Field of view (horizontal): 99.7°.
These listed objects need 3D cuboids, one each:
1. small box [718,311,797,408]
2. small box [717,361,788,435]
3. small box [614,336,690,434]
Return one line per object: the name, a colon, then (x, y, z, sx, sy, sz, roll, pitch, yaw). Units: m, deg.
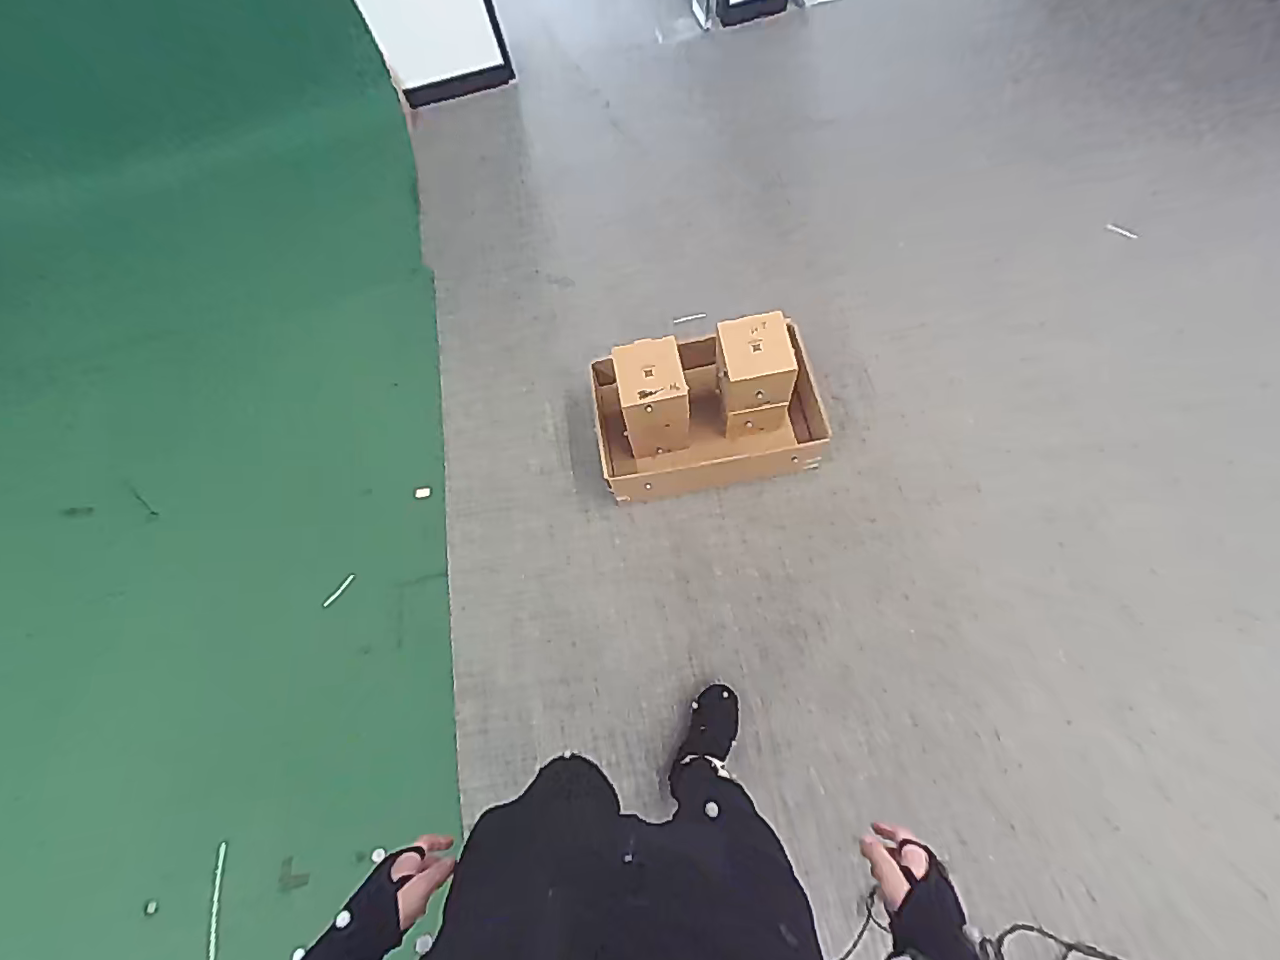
small box: (0.297, -0.300, 1.393, 0.168, 0.176, 0.179, -9, 68, 4)
small box: (0.317, -0.240, 1.546, 0.168, 0.176, 0.179, -10, 69, 4)
small box: (0.032, -0.242, 1.402, 0.168, 0.176, 0.179, -11, 69, 3)
